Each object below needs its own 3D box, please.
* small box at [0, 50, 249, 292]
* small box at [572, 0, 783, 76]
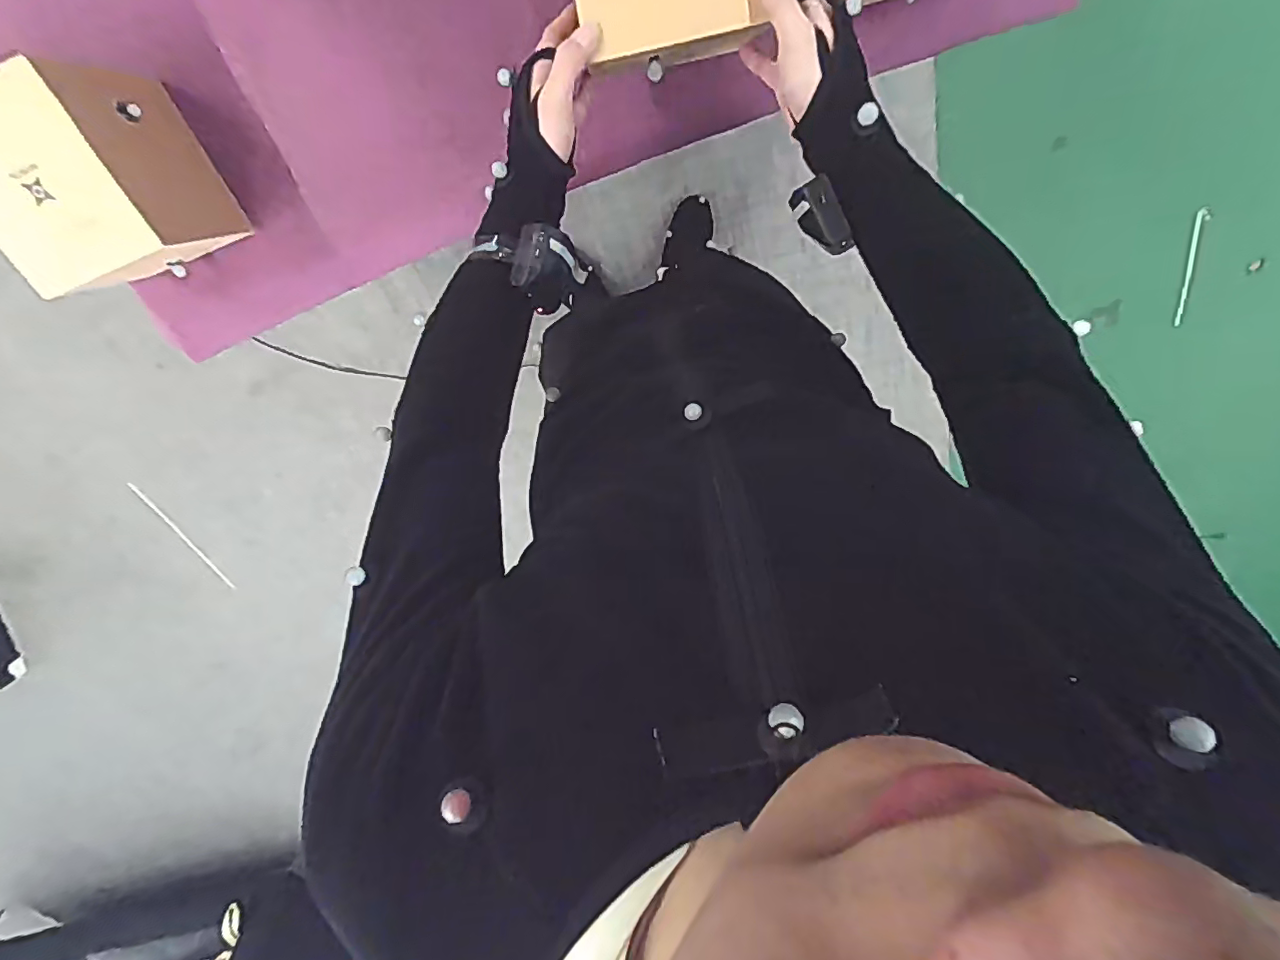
[{"bbox_3d":[-0.607,-0.336,0.610,0.168,0.176,0.179,-17,119,8],"label":"small box"},{"bbox_3d":[0.017,-0.466,0.458,0.168,0.176,0.179,-11,121,3],"label":"small box"}]
